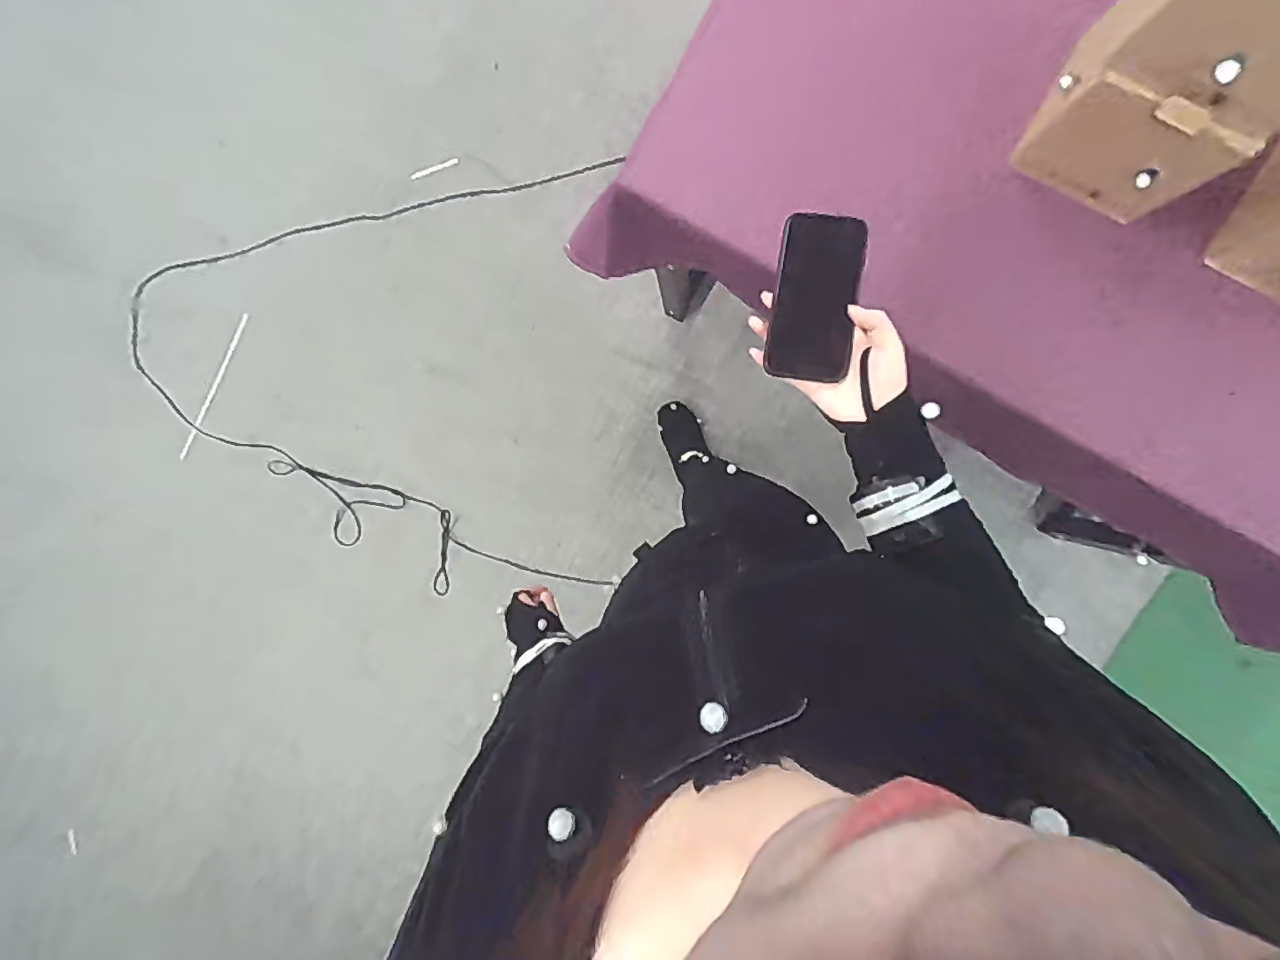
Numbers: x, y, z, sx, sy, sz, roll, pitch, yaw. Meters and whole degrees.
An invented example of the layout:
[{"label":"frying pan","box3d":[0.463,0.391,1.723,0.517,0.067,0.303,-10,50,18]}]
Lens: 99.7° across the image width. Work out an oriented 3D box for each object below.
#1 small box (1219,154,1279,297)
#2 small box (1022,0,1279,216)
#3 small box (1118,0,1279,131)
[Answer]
[{"label":"small box","box3d":[0.802,-0.303,0.573,0.168,0.176,0.179,30,97,4]},{"label":"small box","box3d":[0.570,-0.429,0.591,0.168,0.176,0.179,30,95,3]},{"label":"small box","box3d":[0.549,-0.433,0.426,0.168,0.176,0.179,30,96,3]}]
